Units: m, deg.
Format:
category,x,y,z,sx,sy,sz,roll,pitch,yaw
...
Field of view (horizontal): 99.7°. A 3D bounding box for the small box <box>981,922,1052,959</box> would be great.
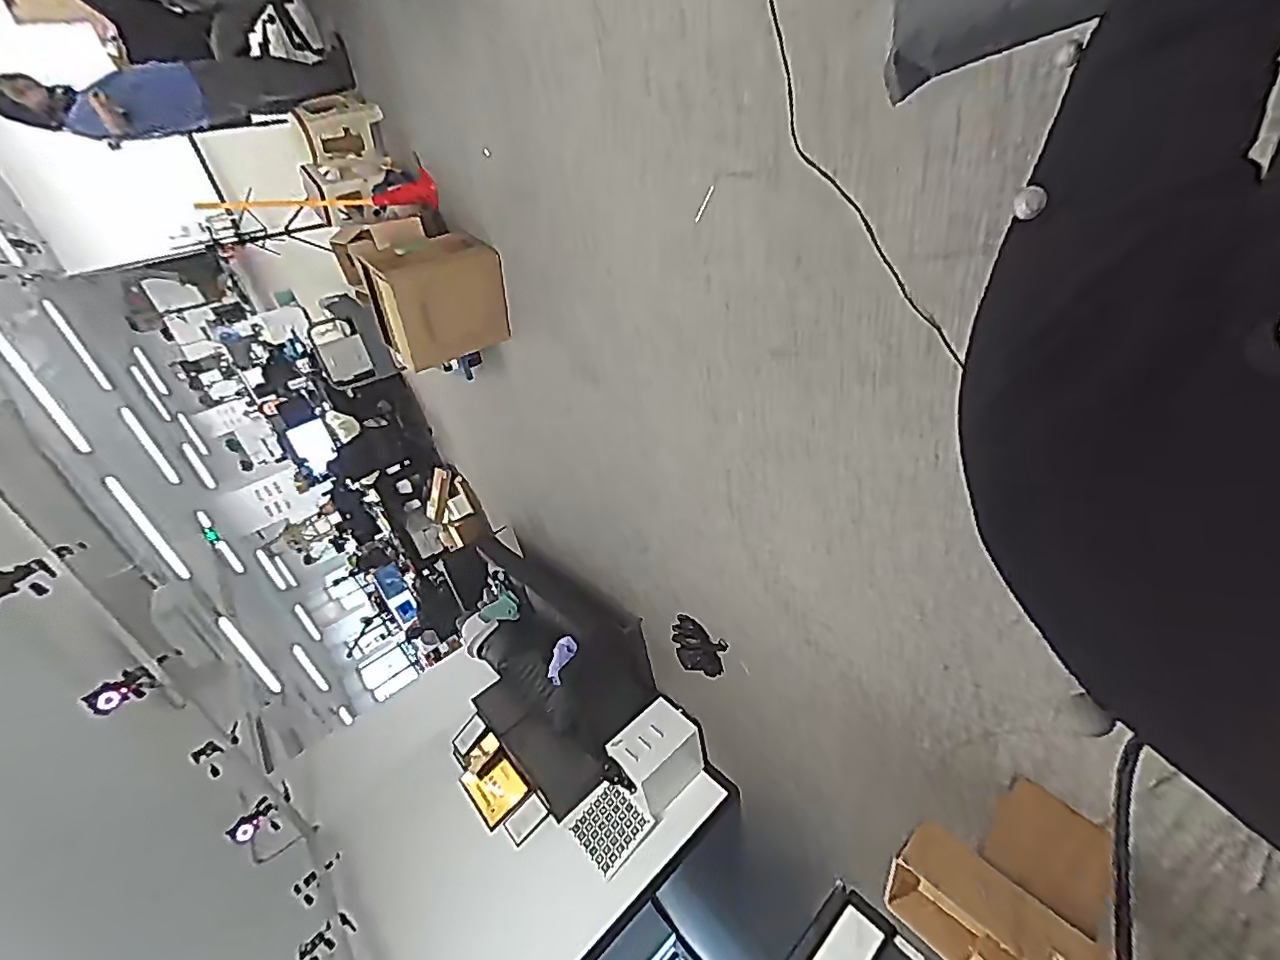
category,x,y,z,sx,sy,sz,roll,pitch,yaw
small box,1.143,1.495,1.635,0.168,0.176,0.179,31,143,44
